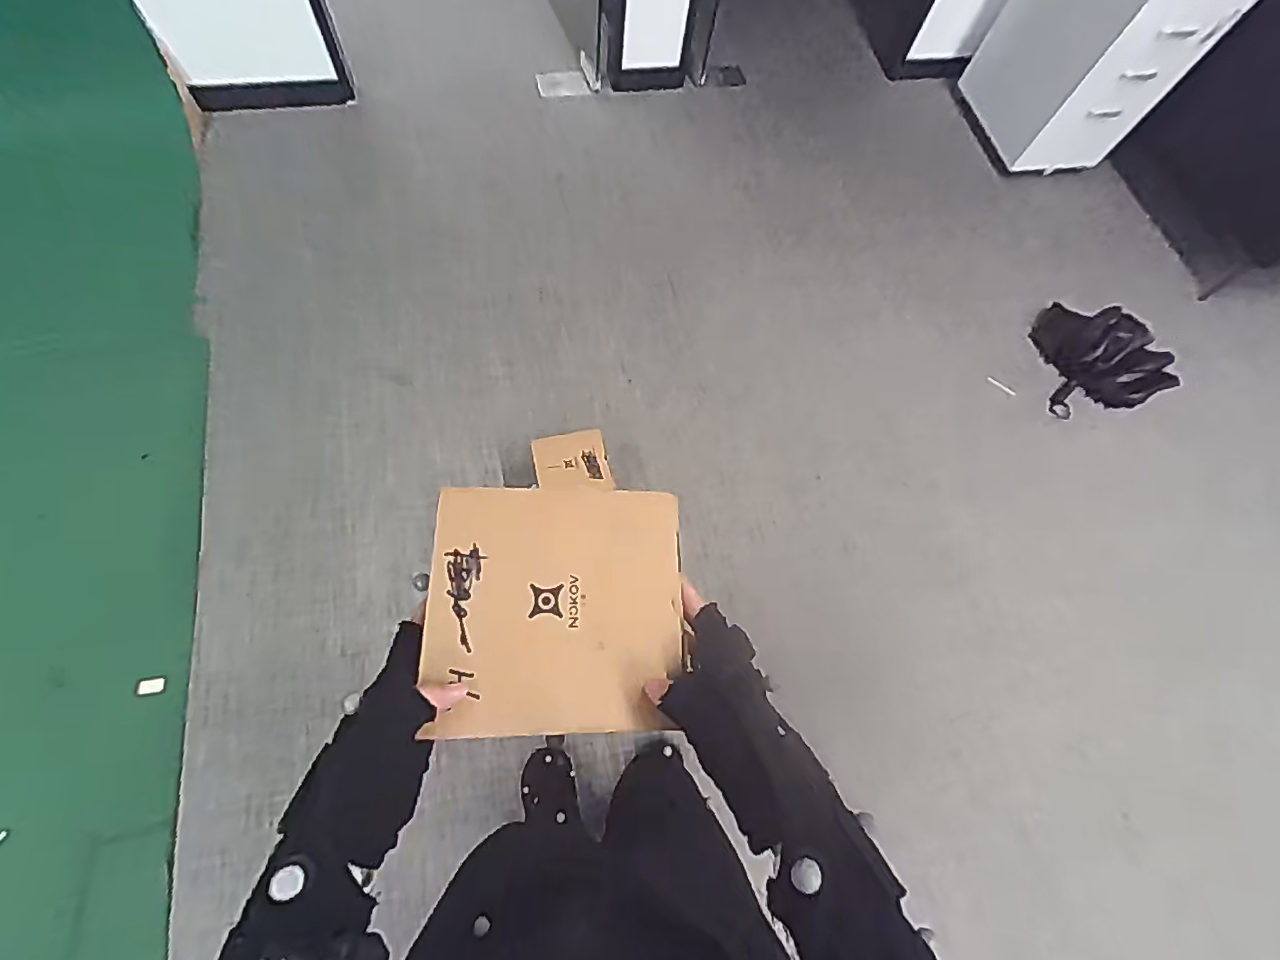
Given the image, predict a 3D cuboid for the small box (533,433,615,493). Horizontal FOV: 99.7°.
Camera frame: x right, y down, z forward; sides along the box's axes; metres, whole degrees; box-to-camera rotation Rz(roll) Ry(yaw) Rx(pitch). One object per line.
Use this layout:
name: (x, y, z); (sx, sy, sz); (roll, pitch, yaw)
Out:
small box: (-0.168, 0.001, 1.369); (0.179, 0.176, 0.168); (-11, 69, -10)

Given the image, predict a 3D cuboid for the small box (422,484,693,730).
small box: (-0.064, 0.113, 0.450); (0.179, 0.176, 0.168); (3, 67, -9)
